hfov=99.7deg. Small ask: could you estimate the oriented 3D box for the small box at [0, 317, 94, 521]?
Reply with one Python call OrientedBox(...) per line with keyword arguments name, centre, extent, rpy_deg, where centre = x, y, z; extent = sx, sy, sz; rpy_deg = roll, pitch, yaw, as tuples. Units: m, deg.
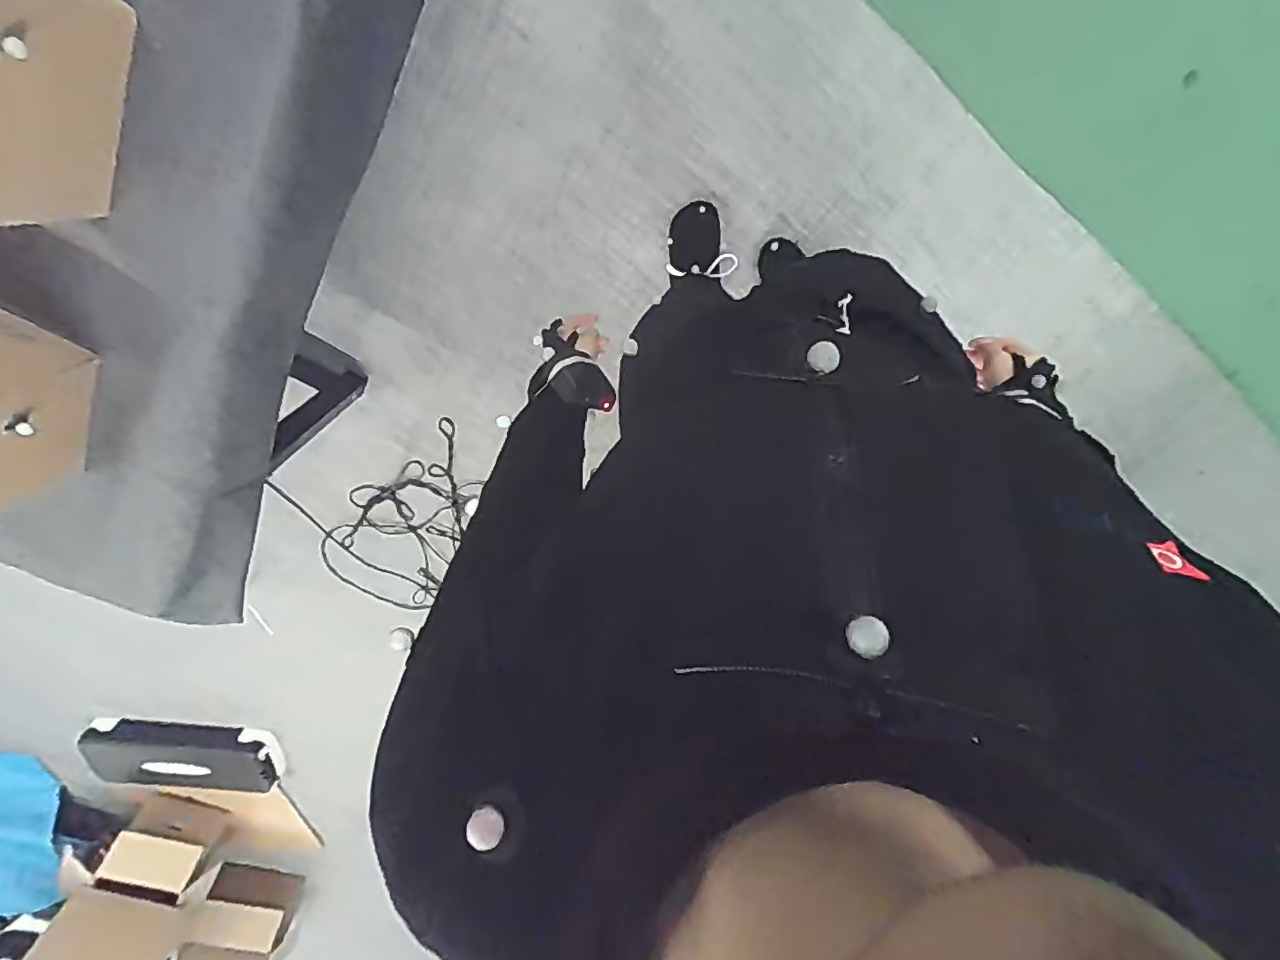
OrientedBox(name="small box", centre=(-0.675, -0.063, 0.506), extent=(0.168, 0.176, 0.179), rpy_deg=(29, 117, -15))
